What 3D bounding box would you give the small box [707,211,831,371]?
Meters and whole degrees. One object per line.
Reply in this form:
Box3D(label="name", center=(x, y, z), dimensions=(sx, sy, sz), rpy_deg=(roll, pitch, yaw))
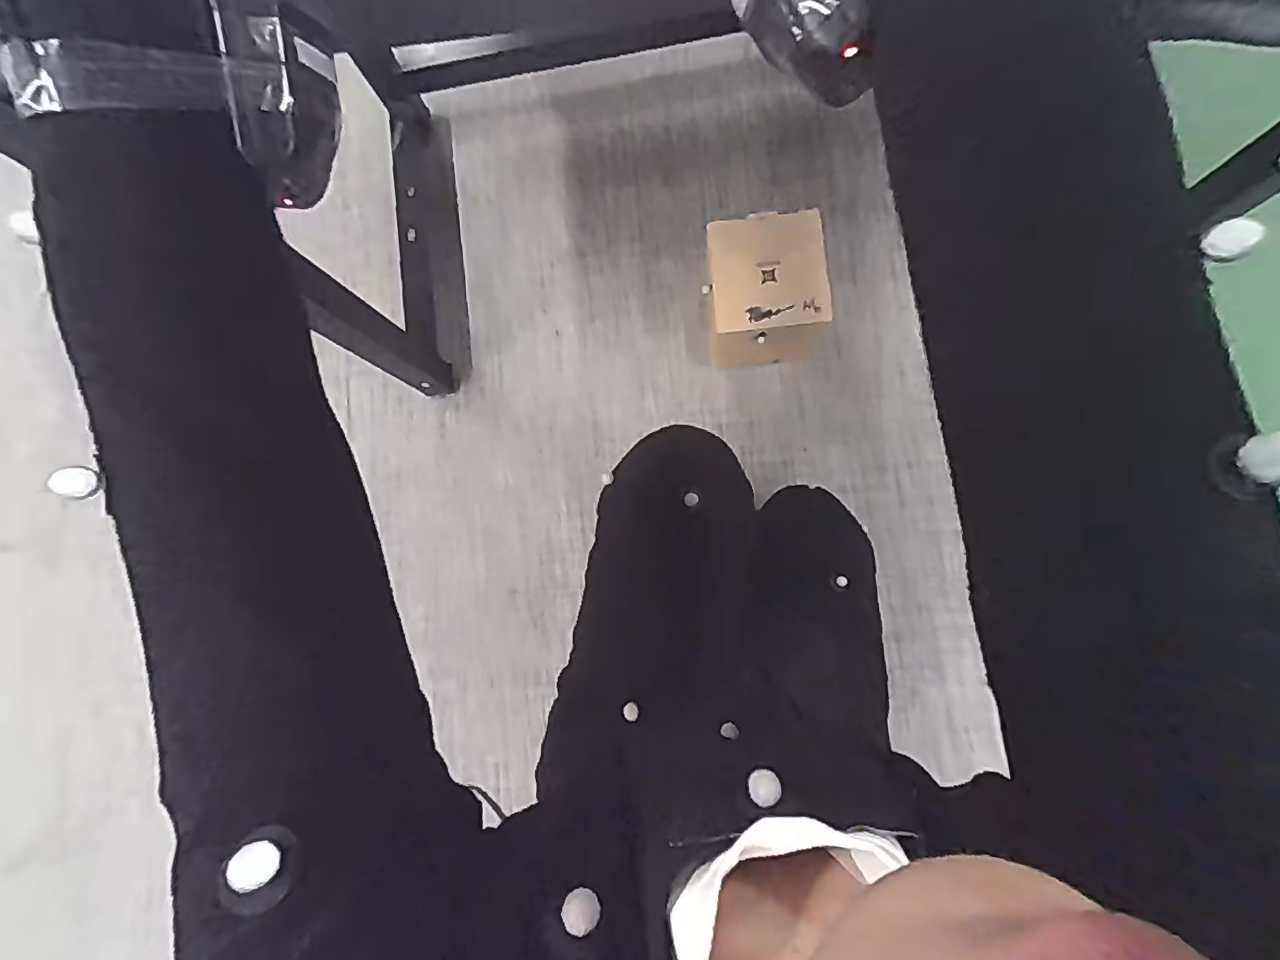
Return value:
Box3D(label="small box", center=(0.195, -0.292, 0.864), dimensions=(0.168, 0.176, 0.179), rpy_deg=(-5, 81, 6))
